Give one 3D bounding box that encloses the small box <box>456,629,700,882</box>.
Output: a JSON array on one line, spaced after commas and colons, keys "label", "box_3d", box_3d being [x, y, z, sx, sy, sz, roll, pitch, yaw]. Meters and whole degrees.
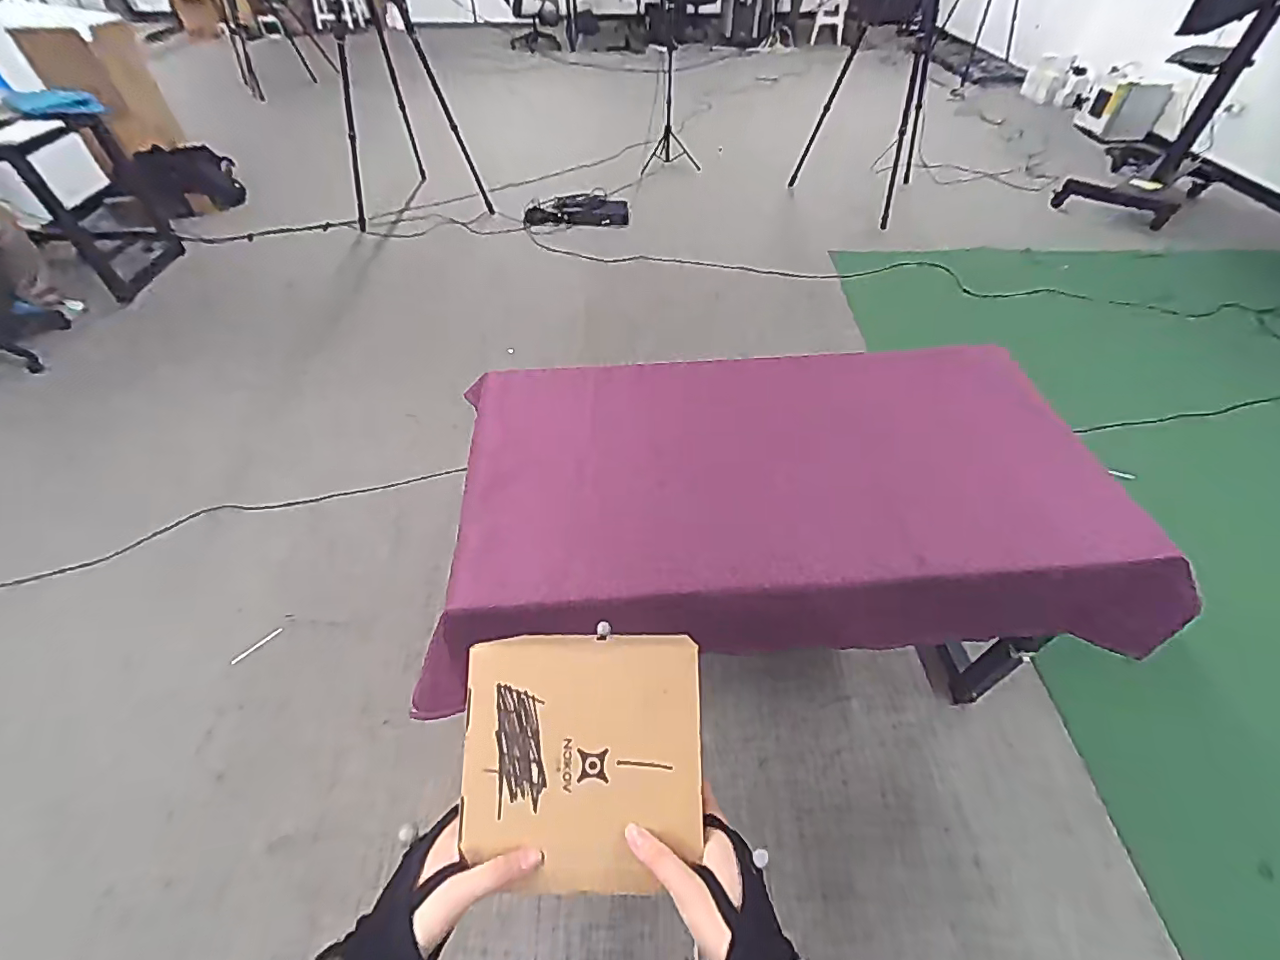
[{"label": "small box", "box_3d": [-0.041, 0.220, 0.475, 0.179, 0.176, 0.168, -1, 76, 2]}]
